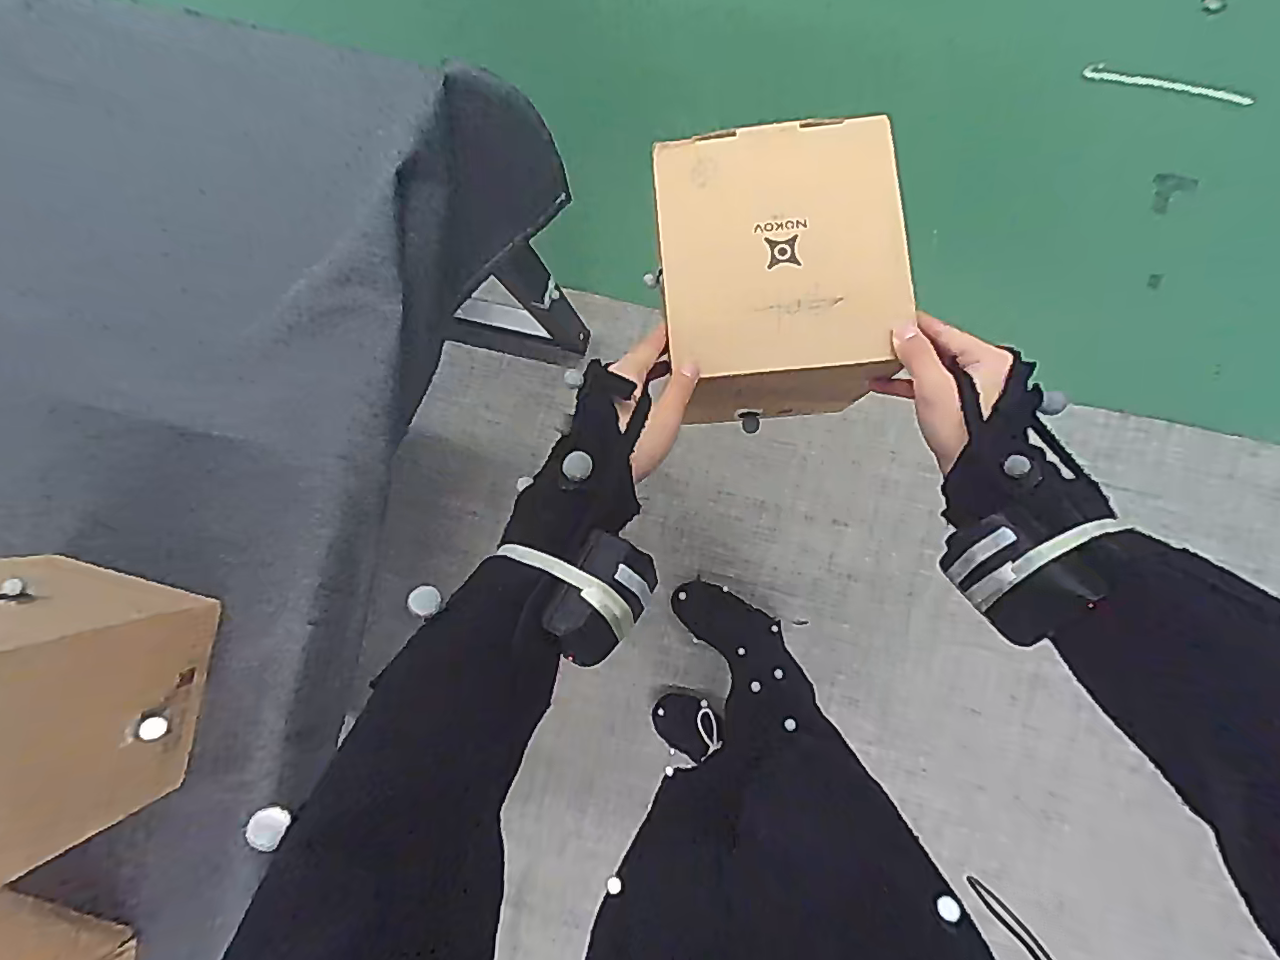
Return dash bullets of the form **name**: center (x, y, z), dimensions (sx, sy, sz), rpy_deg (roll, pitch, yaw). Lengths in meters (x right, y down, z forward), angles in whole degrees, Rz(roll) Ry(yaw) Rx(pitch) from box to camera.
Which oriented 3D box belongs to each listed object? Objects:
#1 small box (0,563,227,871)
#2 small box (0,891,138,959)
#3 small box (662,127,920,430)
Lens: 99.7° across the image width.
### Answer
- **small box**: center (-0.463, 0.162, 0.395), dimensions (0.179, 0.176, 0.168), rpy_deg (13, 90, 6)
- **small box**: center (-0.541, 0.451, 0.396), dimensions (0.179, 0.176, 0.168), rpy_deg (11, 89, 6)
- **small box**: center (0.105, -0.148, 0.454), dimensions (0.168, 0.176, 0.179), rpy_deg (-5, 84, 4)
